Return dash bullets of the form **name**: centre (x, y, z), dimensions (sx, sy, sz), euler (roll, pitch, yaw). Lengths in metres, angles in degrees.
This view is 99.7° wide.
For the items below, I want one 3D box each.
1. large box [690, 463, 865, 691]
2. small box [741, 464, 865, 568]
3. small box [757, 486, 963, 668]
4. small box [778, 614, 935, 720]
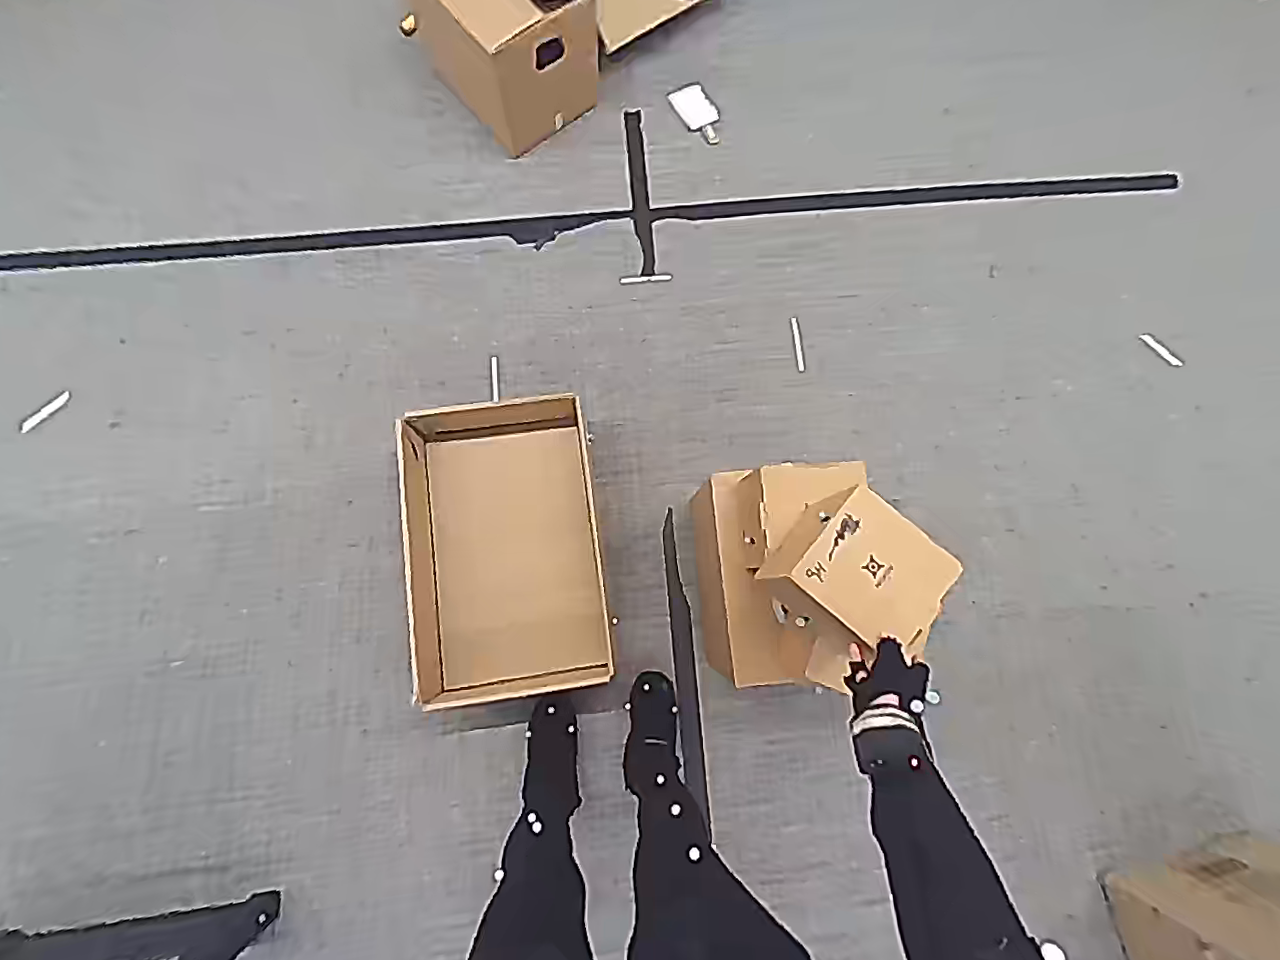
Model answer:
- **large box**: centre (0.302, 0.201, 1.172), dimensions (0.320, 0.320, 0.408), euler (-6, 80, -3)
- **small box**: centre (0.279, 0.069, 0.949), dimensions (0.179, 0.176, 0.168), euler (-2, 81, -4)
- **small box**: centre (0.297, 0.135, 0.769), dimensions (0.179, 0.176, 0.168), euler (41, 79, 5)
- **small box**: centre (0.352, 0.269, 0.910), dimensions (0.168, 0.176, 0.179), euler (23, 79, 2)
